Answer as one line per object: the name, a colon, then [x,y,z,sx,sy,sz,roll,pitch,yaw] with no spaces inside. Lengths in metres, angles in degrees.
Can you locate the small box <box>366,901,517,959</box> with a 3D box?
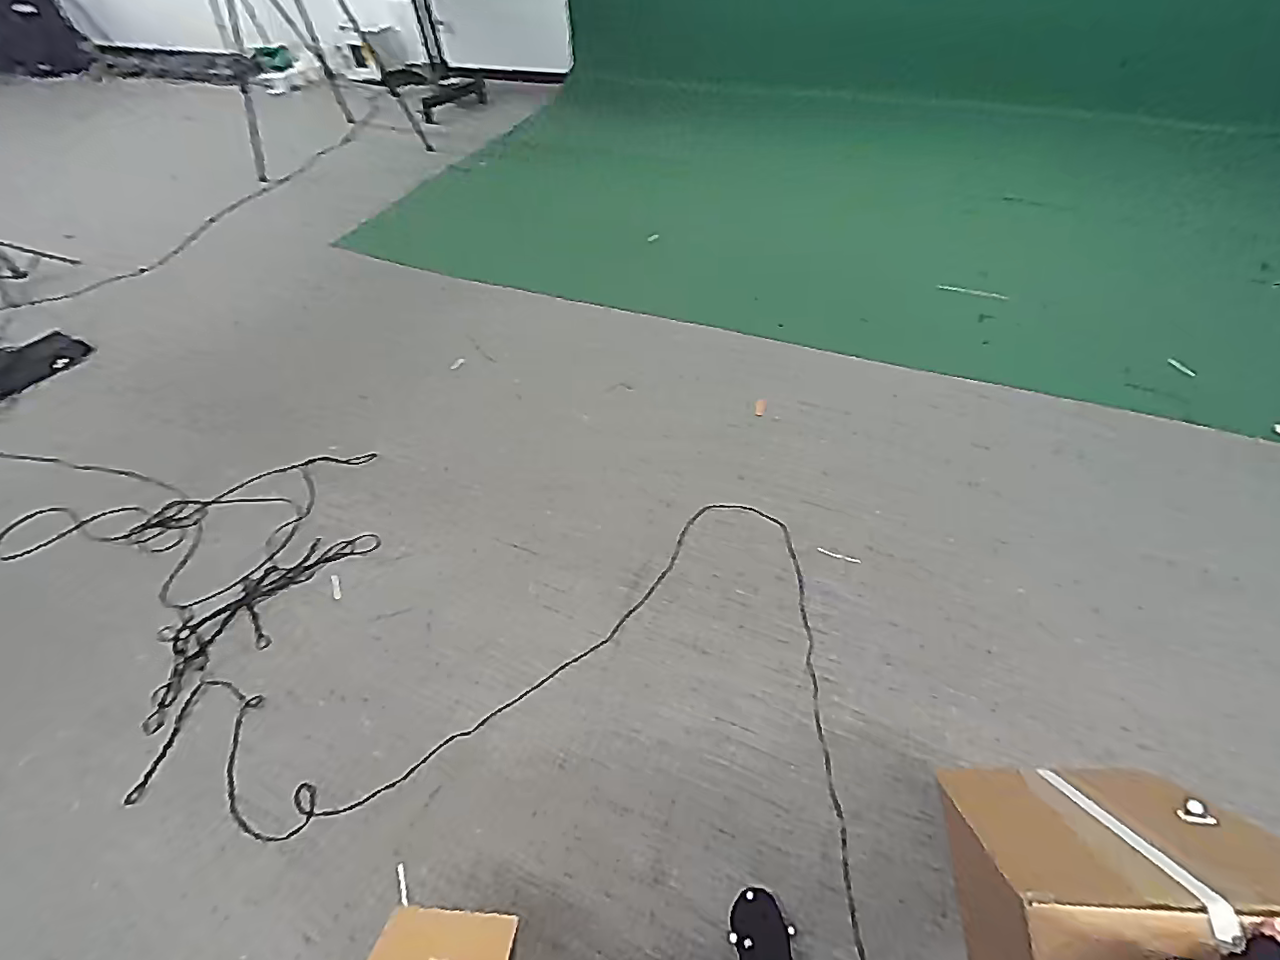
small box: [-0.252,0.654,0.637,0.168,0.179,0.176,7,94,-1]
